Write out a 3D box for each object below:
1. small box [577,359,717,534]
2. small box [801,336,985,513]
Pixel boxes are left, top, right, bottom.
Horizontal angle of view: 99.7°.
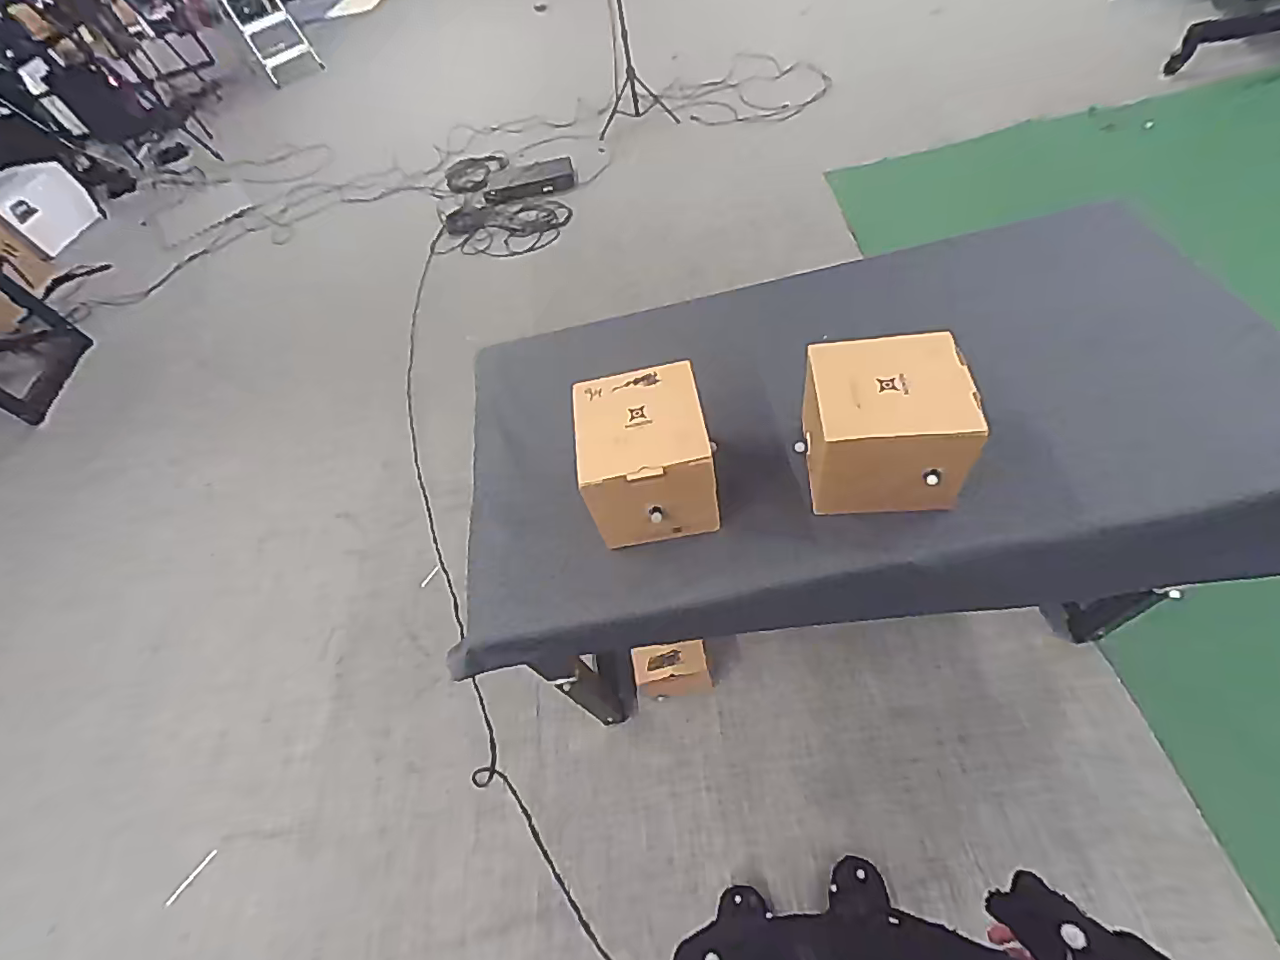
[{"bbox_3d":[0.013,-0.037,0.759,0.168,0.176,0.179,-10,55,5],"label":"small box"},{"bbox_3d":[0.317,-0.066,0.721,0.179,0.176,0.168,-3,55,11],"label":"small box"}]
